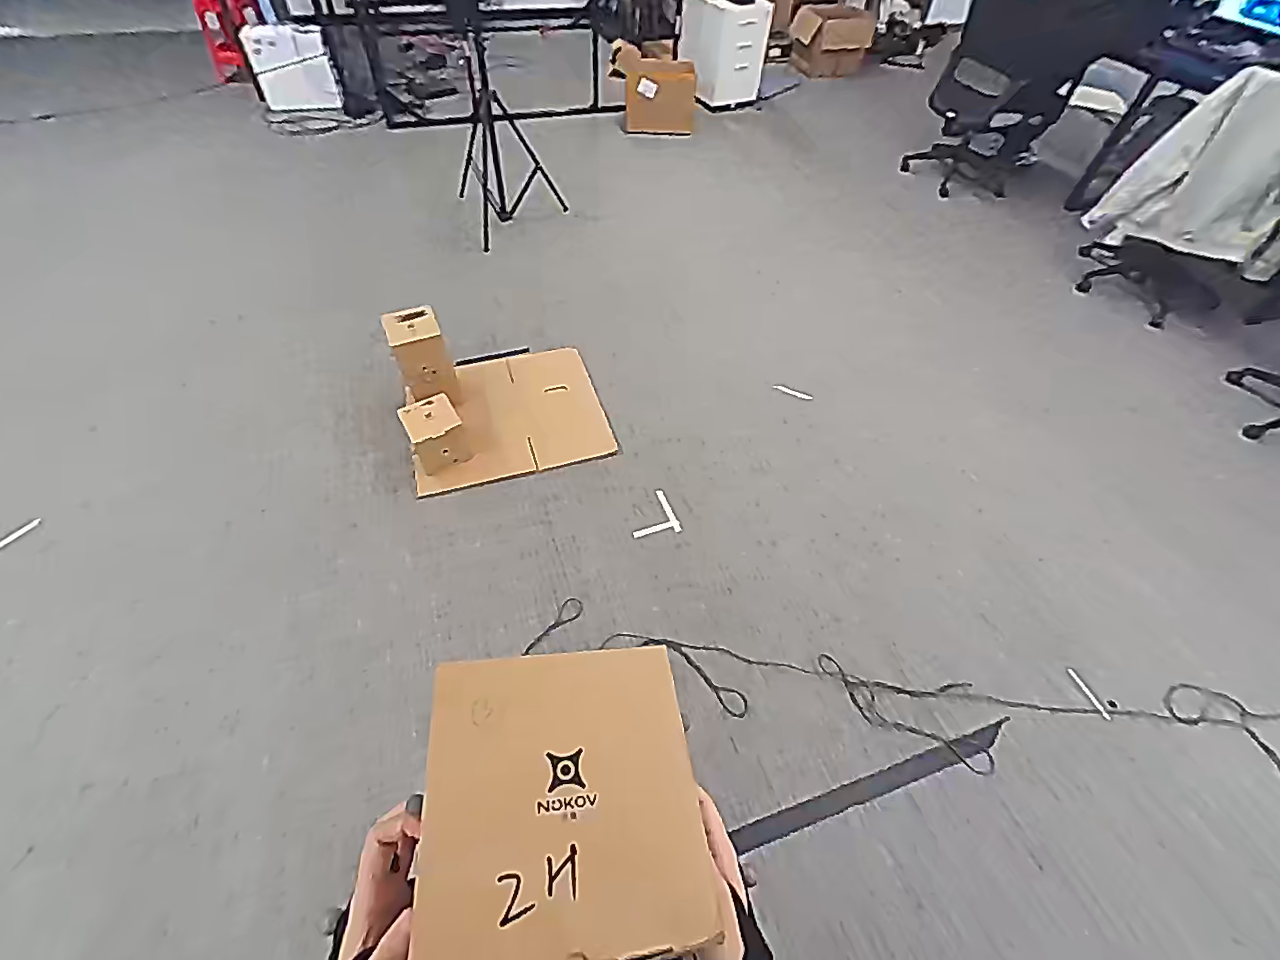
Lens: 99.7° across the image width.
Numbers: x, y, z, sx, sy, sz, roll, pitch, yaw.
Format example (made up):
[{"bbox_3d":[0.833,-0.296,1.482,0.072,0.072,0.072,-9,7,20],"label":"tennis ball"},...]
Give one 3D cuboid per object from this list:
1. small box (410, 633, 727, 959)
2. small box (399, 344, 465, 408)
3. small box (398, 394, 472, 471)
[{"bbox_3d":[-0.058,0.232,0.387,0.168,0.176,0.179,-1,47,-13],"label":"small box"},{"bbox_3d":[-0.763,-0.365,1.990,0.168,0.176,0.179,-22,57,-18],"label":"small box"},{"bbox_3d":[-0.685,-0.151,1.825,0.168,0.176,0.179,-26,59,-21],"label":"small box"}]
